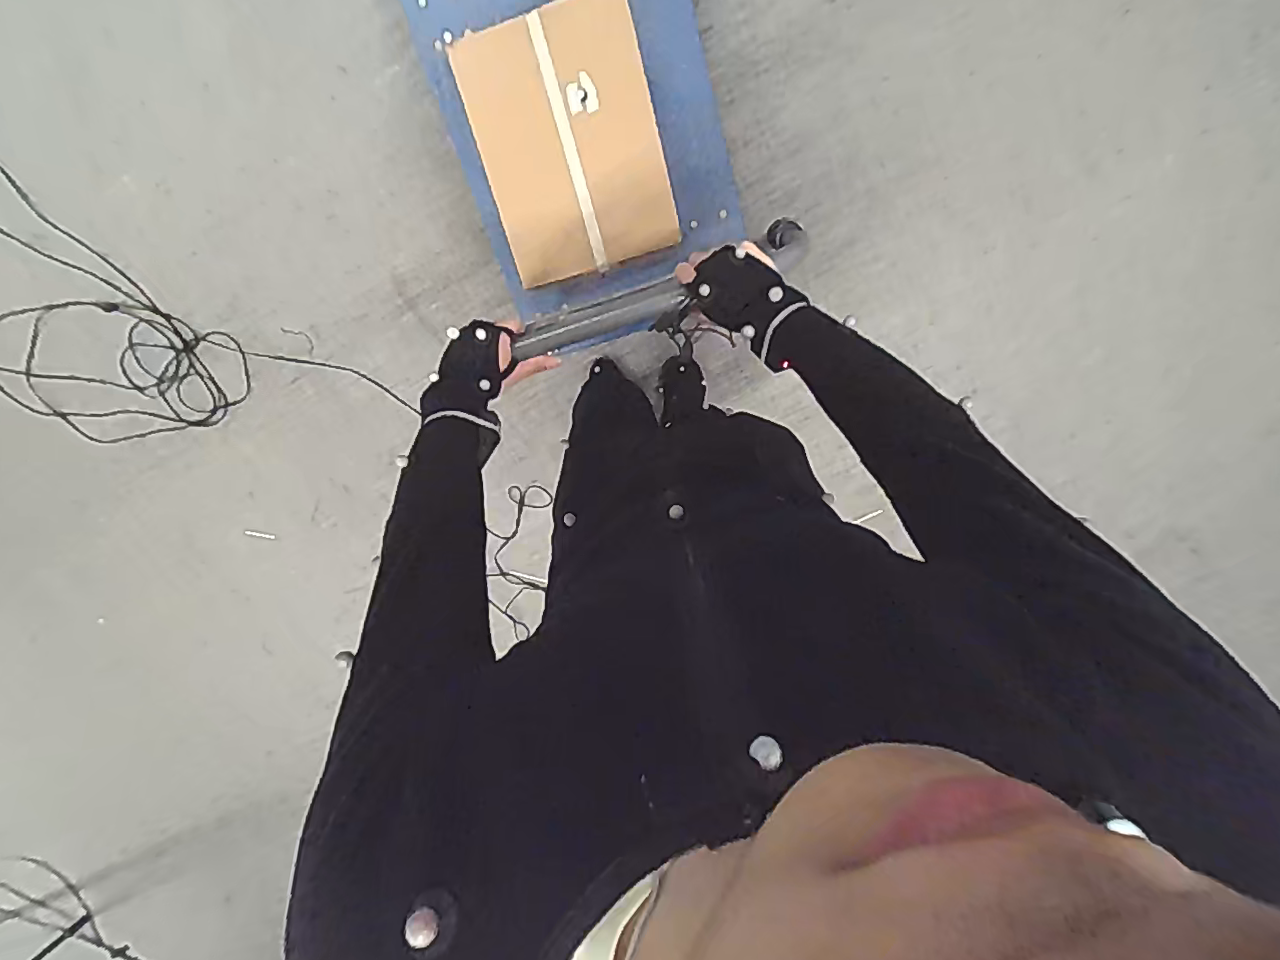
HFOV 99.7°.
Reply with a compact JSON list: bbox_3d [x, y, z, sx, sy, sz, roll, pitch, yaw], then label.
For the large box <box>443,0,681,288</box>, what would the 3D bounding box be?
[{"bbox_3d":[-0.120,-0.627,1.073,0.320,0.320,0.408,-14,108,6],"label":"large box"}]
